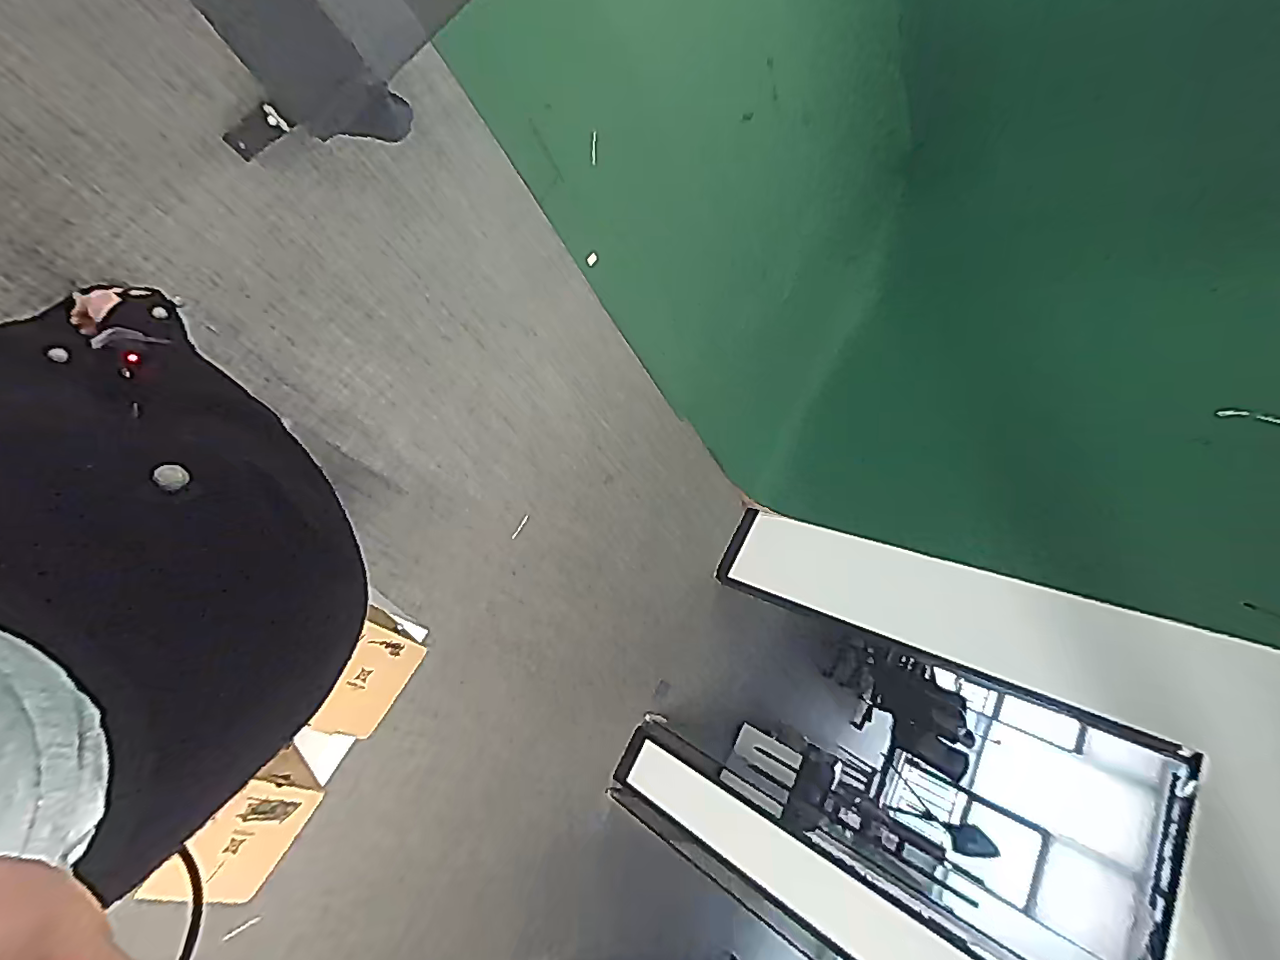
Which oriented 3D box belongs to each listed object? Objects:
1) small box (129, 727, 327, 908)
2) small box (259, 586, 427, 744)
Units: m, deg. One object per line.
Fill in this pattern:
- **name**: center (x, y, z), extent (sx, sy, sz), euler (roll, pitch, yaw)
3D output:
- **small box**: center (-0.646, 0.521, 0.847), extent (0.179, 0.176, 0.168), euler (-57, 137, -19)
- **small box**: center (-0.515, 0.314, 0.932), extent (0.179, 0.176, 0.168), euler (-57, 137, -17)
